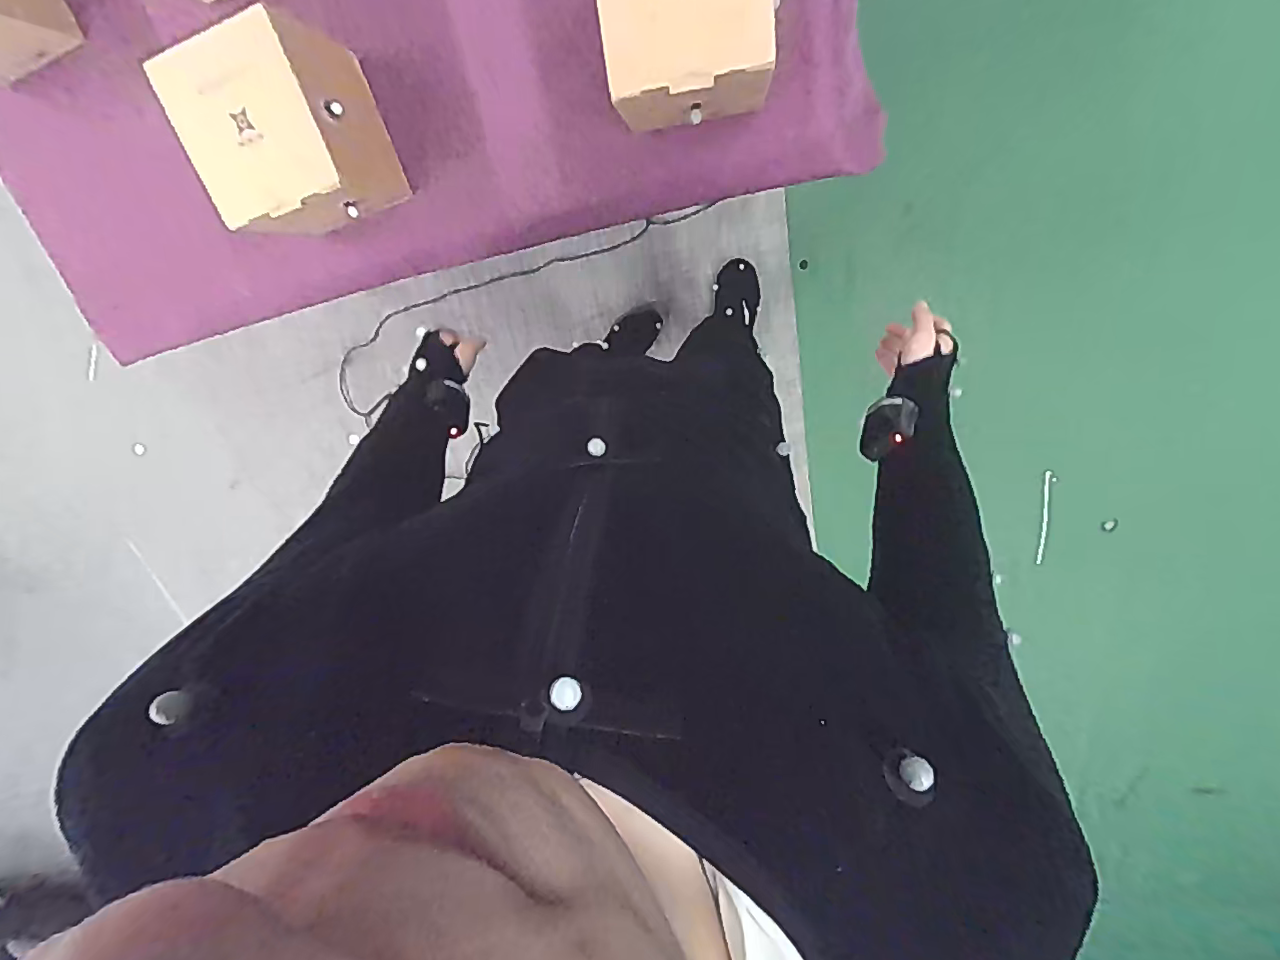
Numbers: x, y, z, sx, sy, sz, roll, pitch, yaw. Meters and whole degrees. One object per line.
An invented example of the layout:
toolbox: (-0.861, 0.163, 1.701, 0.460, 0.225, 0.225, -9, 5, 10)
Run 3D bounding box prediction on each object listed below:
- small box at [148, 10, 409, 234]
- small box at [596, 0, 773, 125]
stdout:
small box: (-0.425, -0.421, 0.672, 0.168, 0.176, 0.179, -13, 111, 12)
small box: (0.049, -0.495, 0.569, 0.168, 0.176, 0.179, -4, 113, 10)
